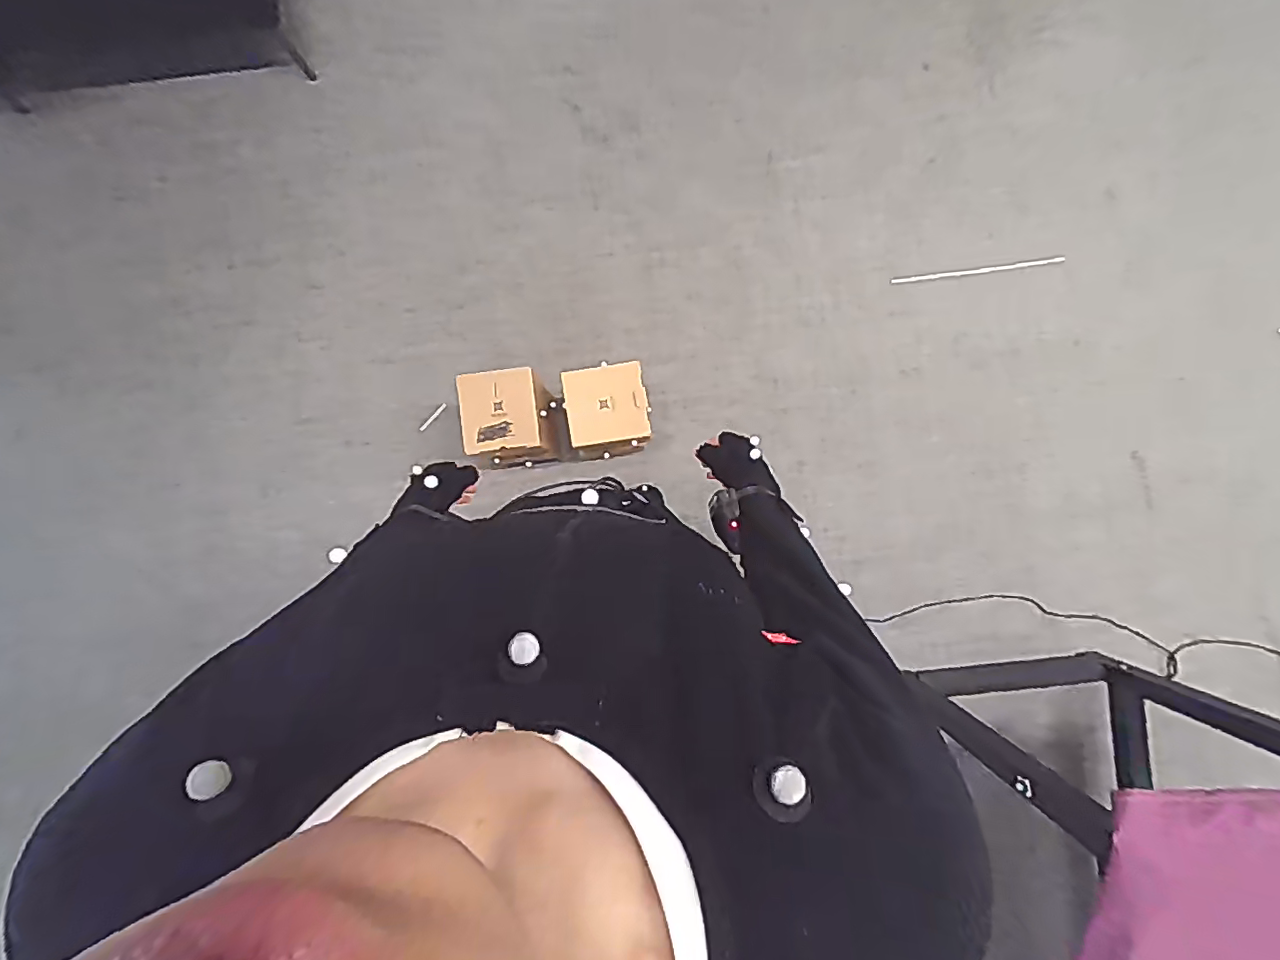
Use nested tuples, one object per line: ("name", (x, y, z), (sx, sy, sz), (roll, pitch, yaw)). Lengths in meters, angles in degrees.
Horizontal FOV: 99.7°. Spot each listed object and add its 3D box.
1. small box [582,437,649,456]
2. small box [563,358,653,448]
("small box", (-0.072, -0.164, 1.404), (0.168, 0.176, 0.179), (-9, 90, 1))
("small box", (-0.068, -0.169, 1.240), (0.179, 0.176, 0.168), (-10, 90, -1))
